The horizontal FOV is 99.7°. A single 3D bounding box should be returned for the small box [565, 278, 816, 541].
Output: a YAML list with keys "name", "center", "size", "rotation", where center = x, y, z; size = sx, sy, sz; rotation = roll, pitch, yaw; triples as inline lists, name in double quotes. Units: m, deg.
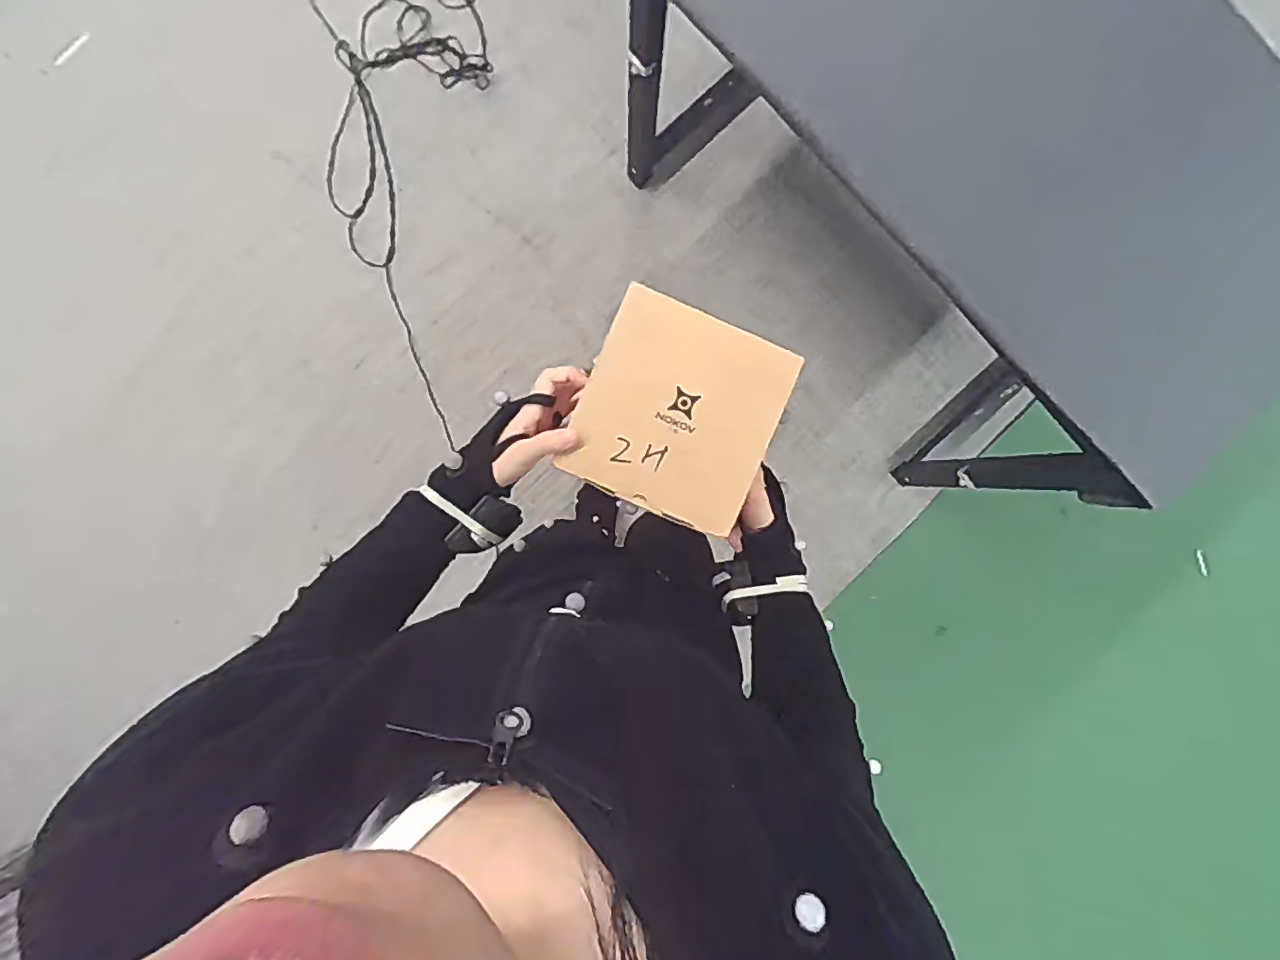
- name: "small box"
  center: [0.038, -0.058, 0.533]
  size: [0.168, 0.176, 0.179]
  rotation: [25, 88, -3]
